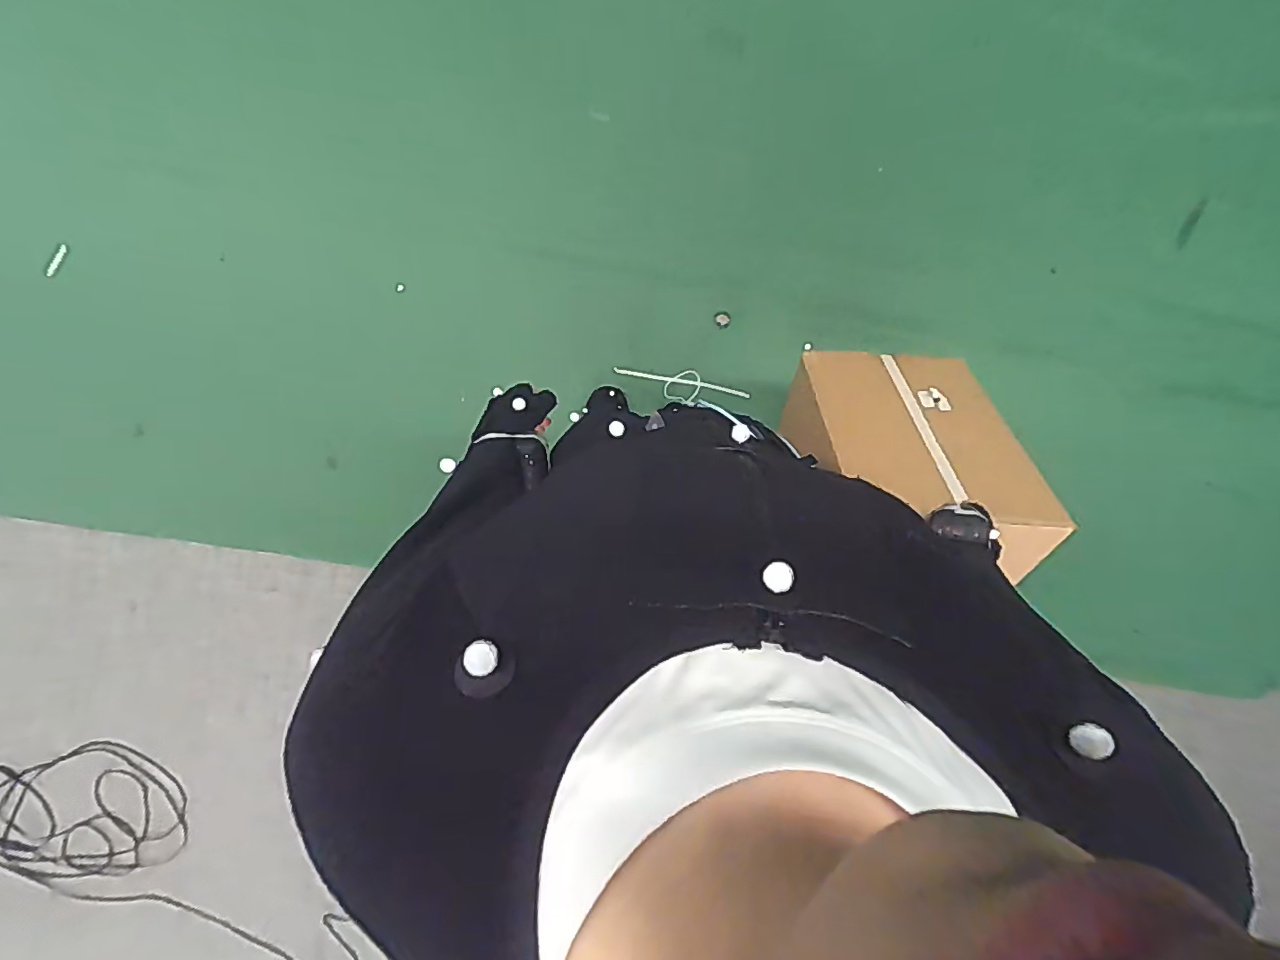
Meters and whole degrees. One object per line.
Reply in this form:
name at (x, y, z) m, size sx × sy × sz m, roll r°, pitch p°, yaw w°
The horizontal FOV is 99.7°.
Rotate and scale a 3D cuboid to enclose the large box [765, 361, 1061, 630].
large box at (0.443, 0.027, 1.005) m, size 0.320 × 0.408 × 0.320 m, roll 3°, pitch 136°, yaw -3°
